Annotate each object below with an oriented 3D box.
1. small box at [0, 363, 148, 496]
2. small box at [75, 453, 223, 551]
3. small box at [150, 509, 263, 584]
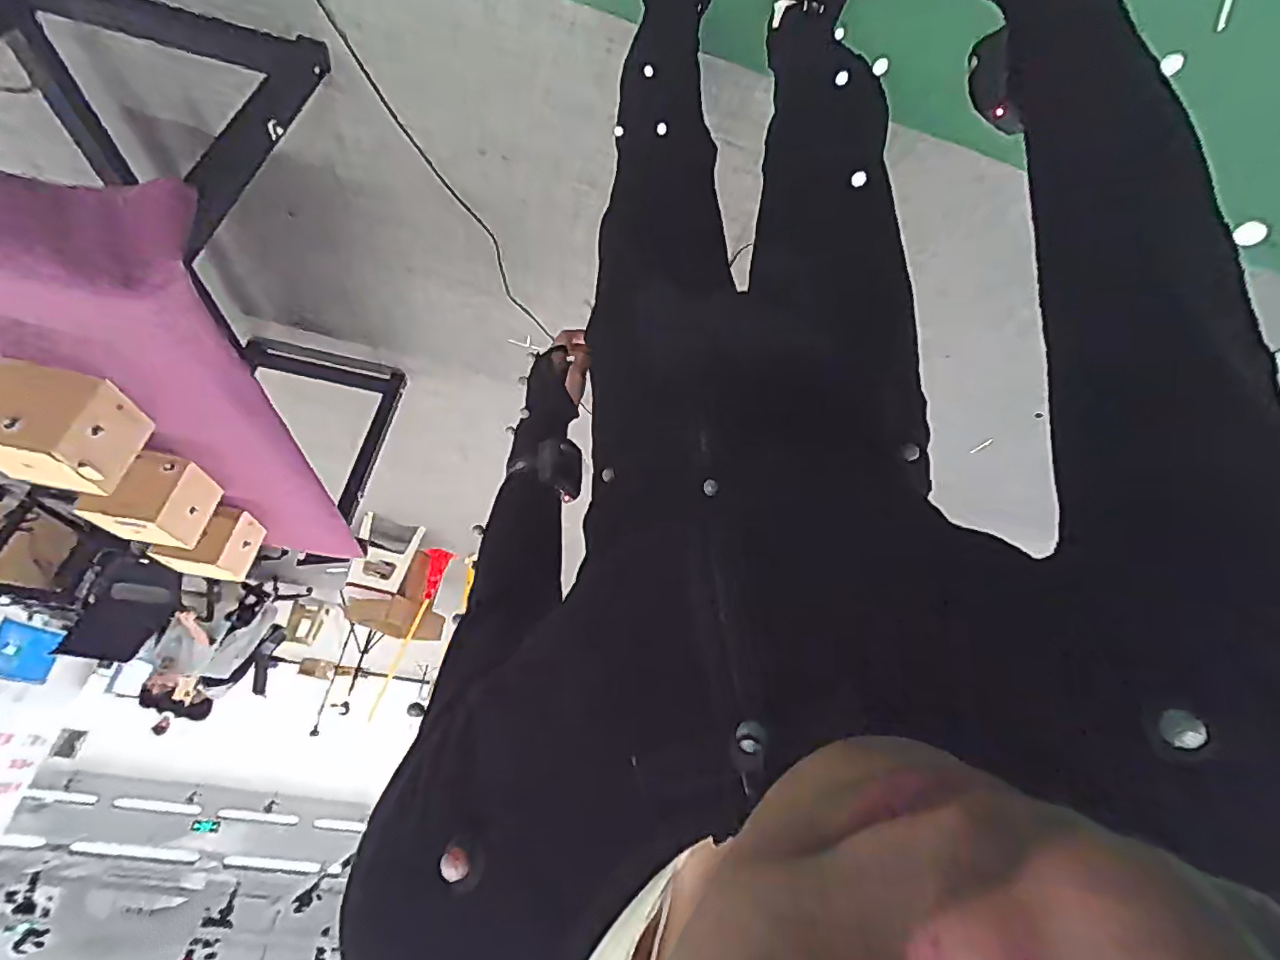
[{"bbox_3d":[-1.070,-0.092,0.997,0.179,0.176,0.168,12,151,-9],"label":"small box"},{"bbox_3d":[-1.140,0.050,1.275,0.168,0.176,0.179,12,152,-8],"label":"small box"},{"bbox_3d":[-1.207,0.179,1.528,0.179,0.176,0.168,11,151,-8],"label":"small box"}]
